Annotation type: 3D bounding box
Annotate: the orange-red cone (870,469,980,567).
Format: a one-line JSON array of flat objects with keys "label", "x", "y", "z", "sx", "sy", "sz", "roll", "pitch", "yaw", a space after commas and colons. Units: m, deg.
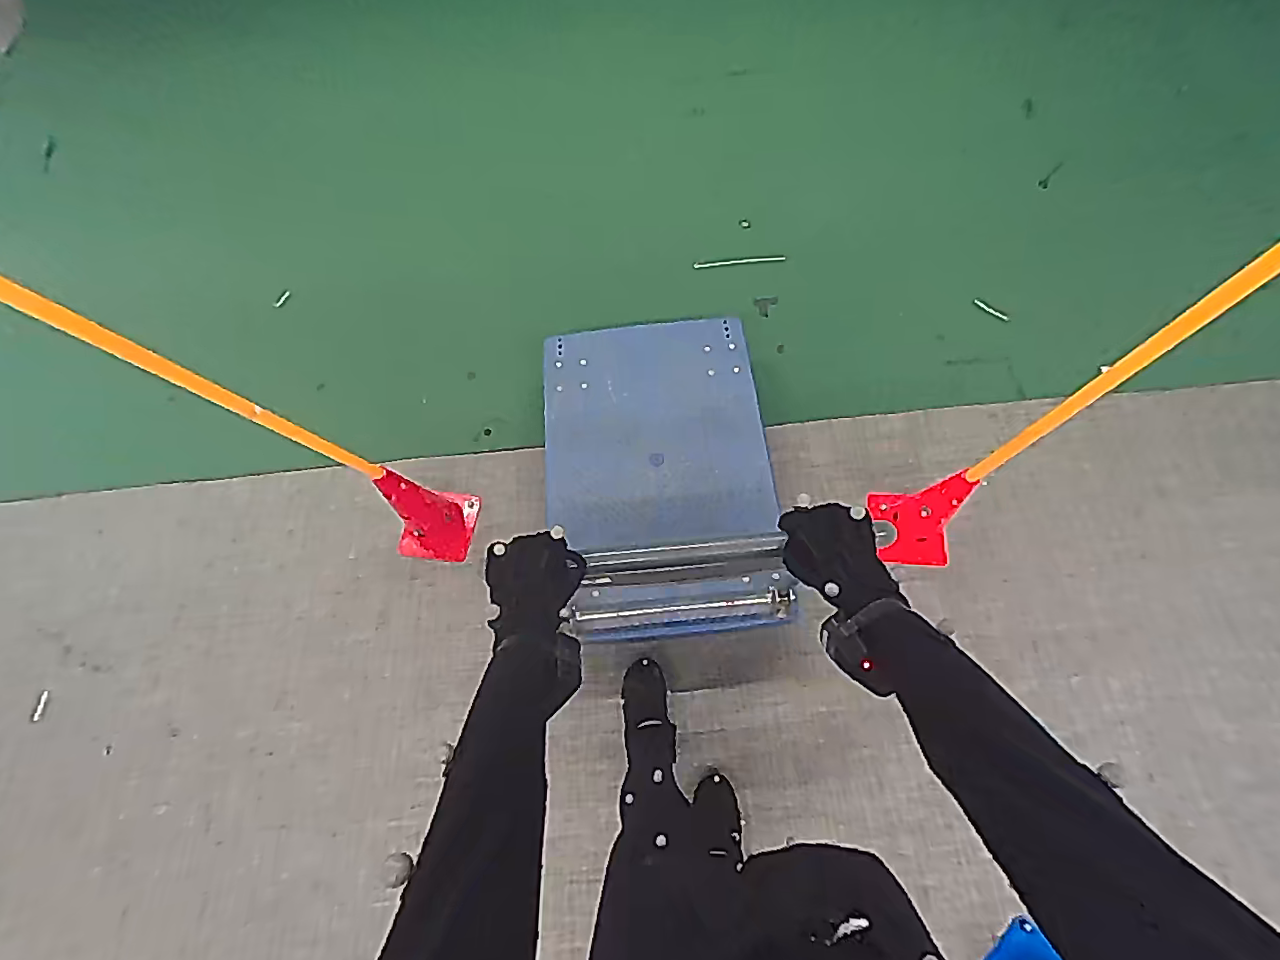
[{"label": "orange-red cone", "x": 0.710, "y": 0.064, "z": 1.296, "sx": 0.198, "sy": 0.360, "sz": 0.199, "roll": 5, "pitch": 68, "yaw": 6}]
